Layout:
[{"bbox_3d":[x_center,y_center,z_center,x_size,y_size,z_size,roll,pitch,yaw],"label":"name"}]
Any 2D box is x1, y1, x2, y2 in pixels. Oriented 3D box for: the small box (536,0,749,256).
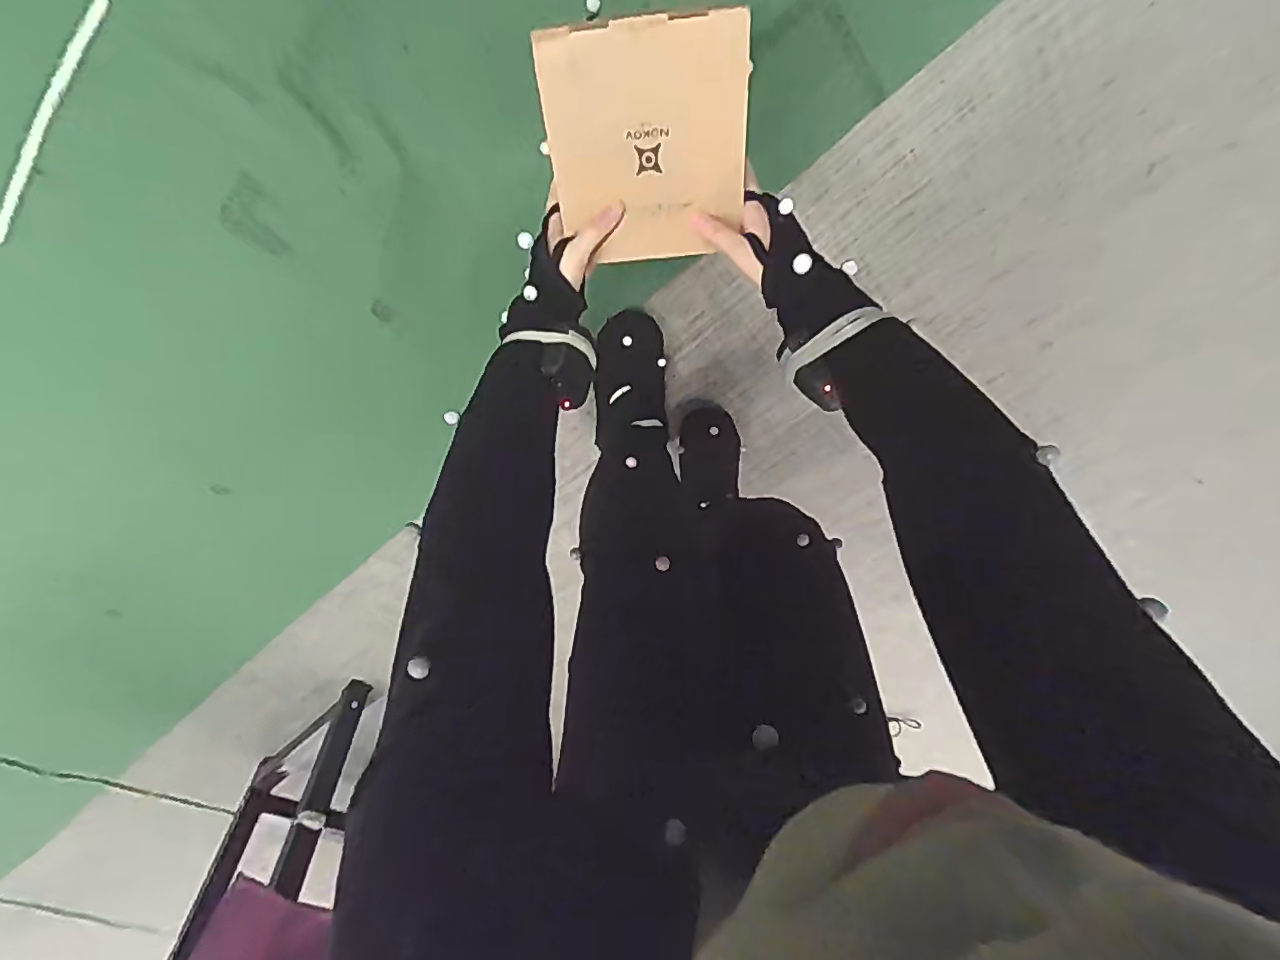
[{"bbox_3d":[0.005,-0.338,0.519,0.168,0.176,0.179,-4,133,3],"label":"small box"}]
